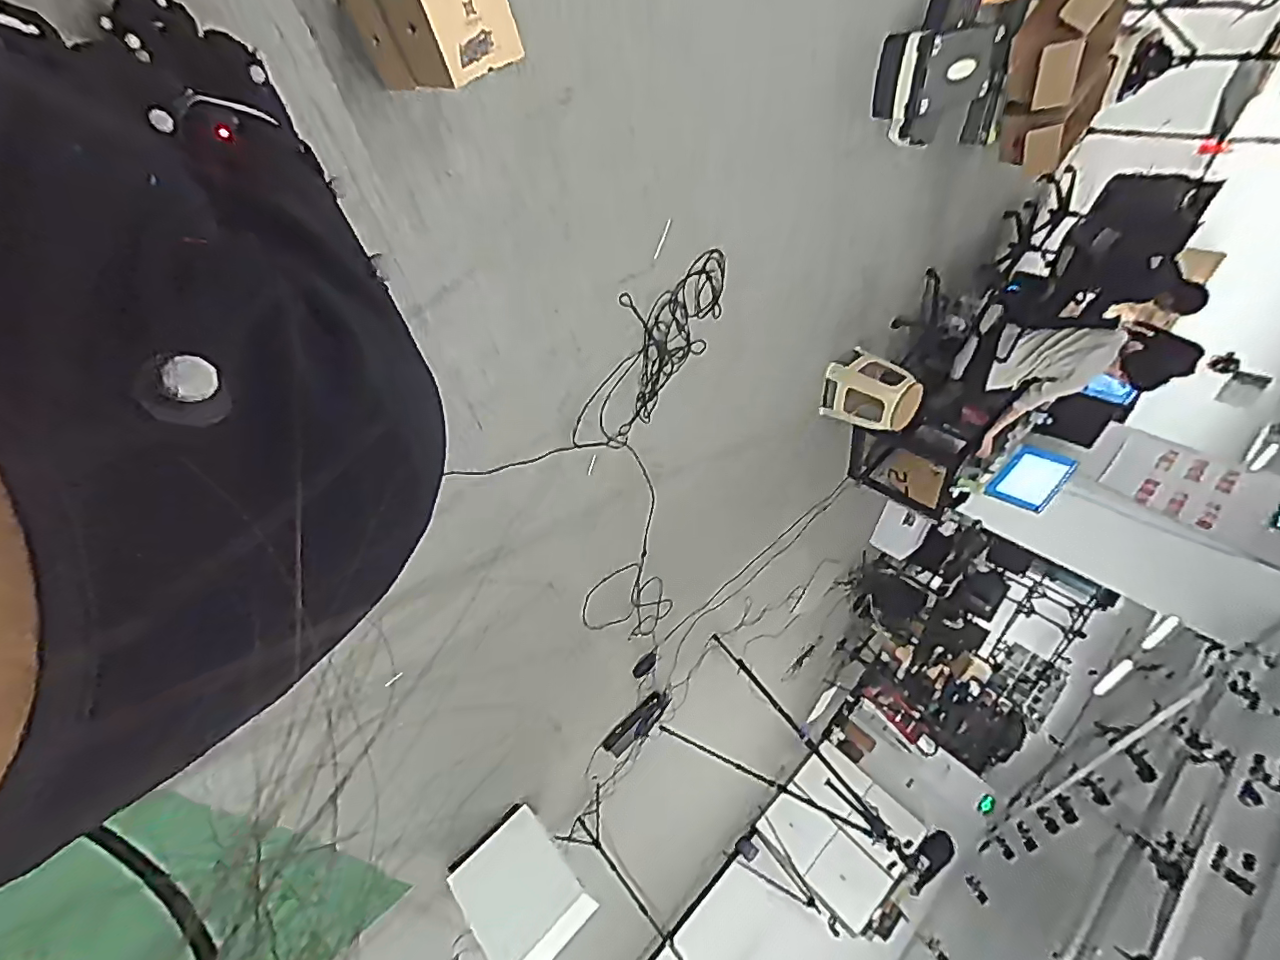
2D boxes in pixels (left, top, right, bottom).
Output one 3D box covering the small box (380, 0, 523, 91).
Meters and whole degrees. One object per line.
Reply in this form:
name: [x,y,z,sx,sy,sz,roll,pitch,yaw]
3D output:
small box: [-0.353,-0.854,1.003,0.168,0.176,0.179,-40,139,-19]
